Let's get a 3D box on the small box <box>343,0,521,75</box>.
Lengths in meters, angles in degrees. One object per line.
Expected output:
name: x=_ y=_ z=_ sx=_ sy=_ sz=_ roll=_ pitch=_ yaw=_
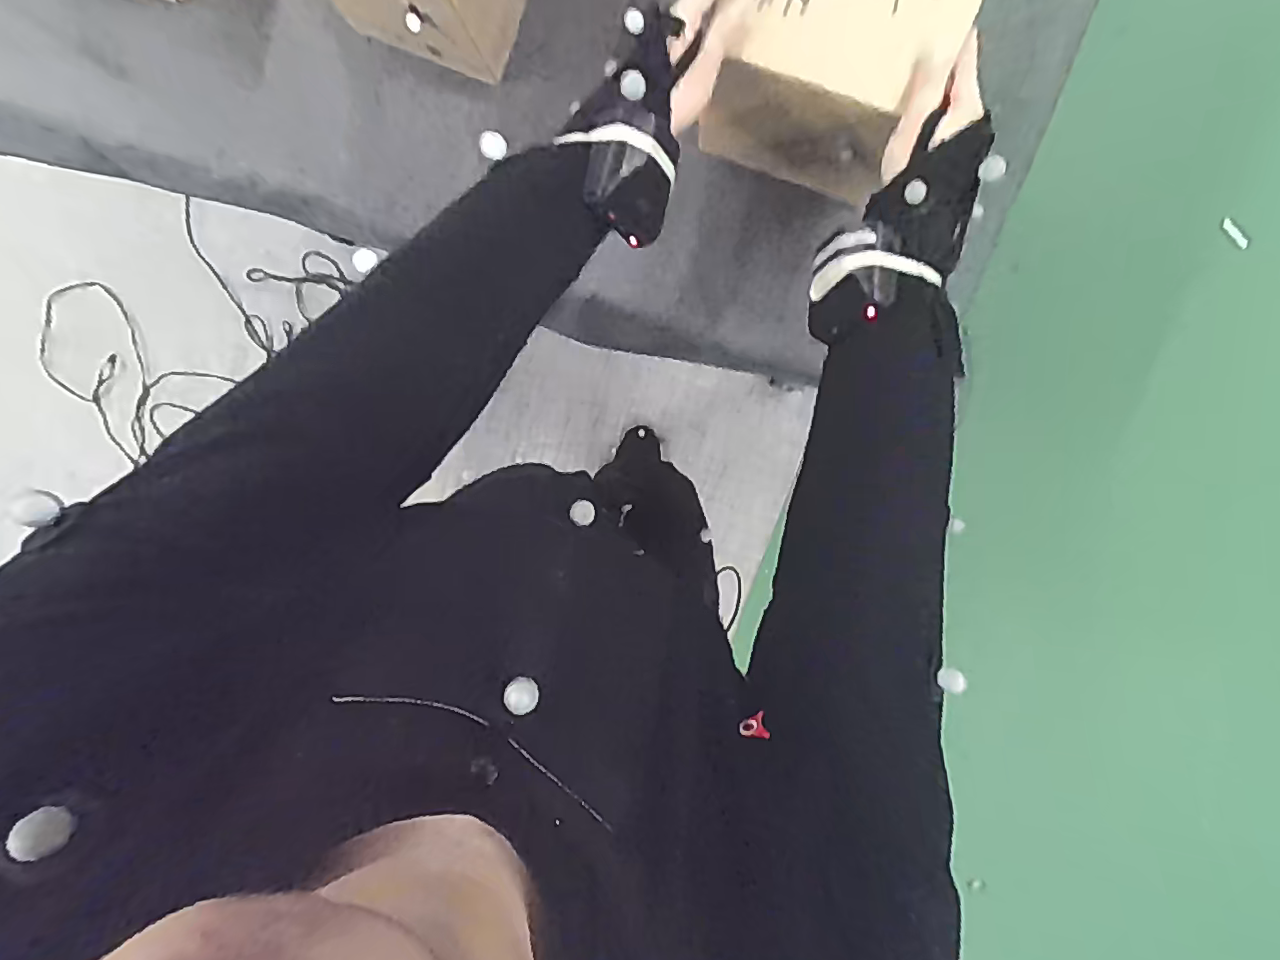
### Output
small box: x=-0.193 y=-0.505 z=0.466 sx=0.168 sy=0.176 sz=0.179 roll=22 pitch=99 yaw=0
